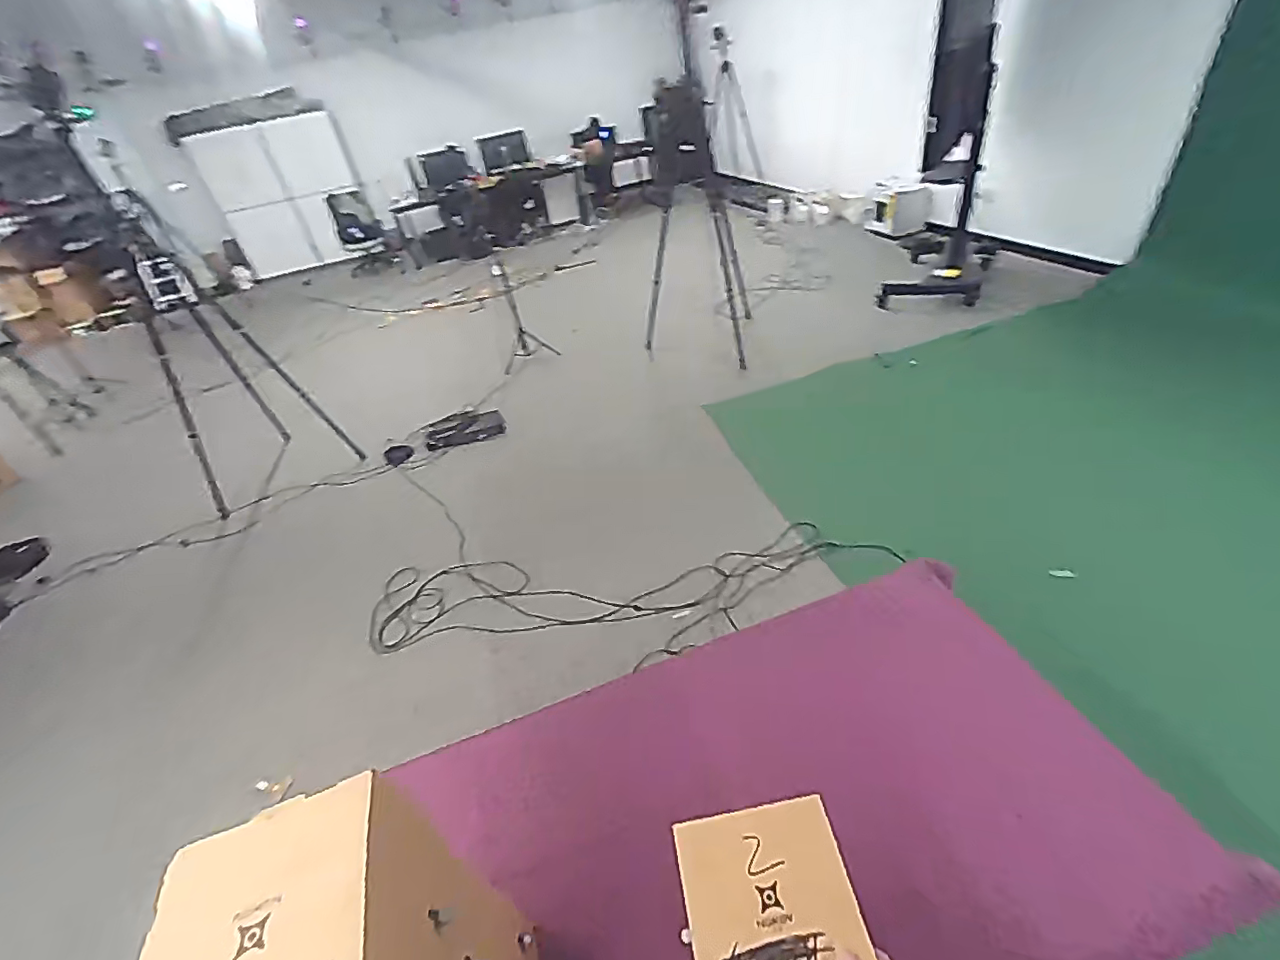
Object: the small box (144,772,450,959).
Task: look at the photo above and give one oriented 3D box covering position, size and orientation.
[{"bbox_3d":[-0.268,0.393,0.447,0.168,0.176,0.179,-21,37,-10],"label":"small box"}]
